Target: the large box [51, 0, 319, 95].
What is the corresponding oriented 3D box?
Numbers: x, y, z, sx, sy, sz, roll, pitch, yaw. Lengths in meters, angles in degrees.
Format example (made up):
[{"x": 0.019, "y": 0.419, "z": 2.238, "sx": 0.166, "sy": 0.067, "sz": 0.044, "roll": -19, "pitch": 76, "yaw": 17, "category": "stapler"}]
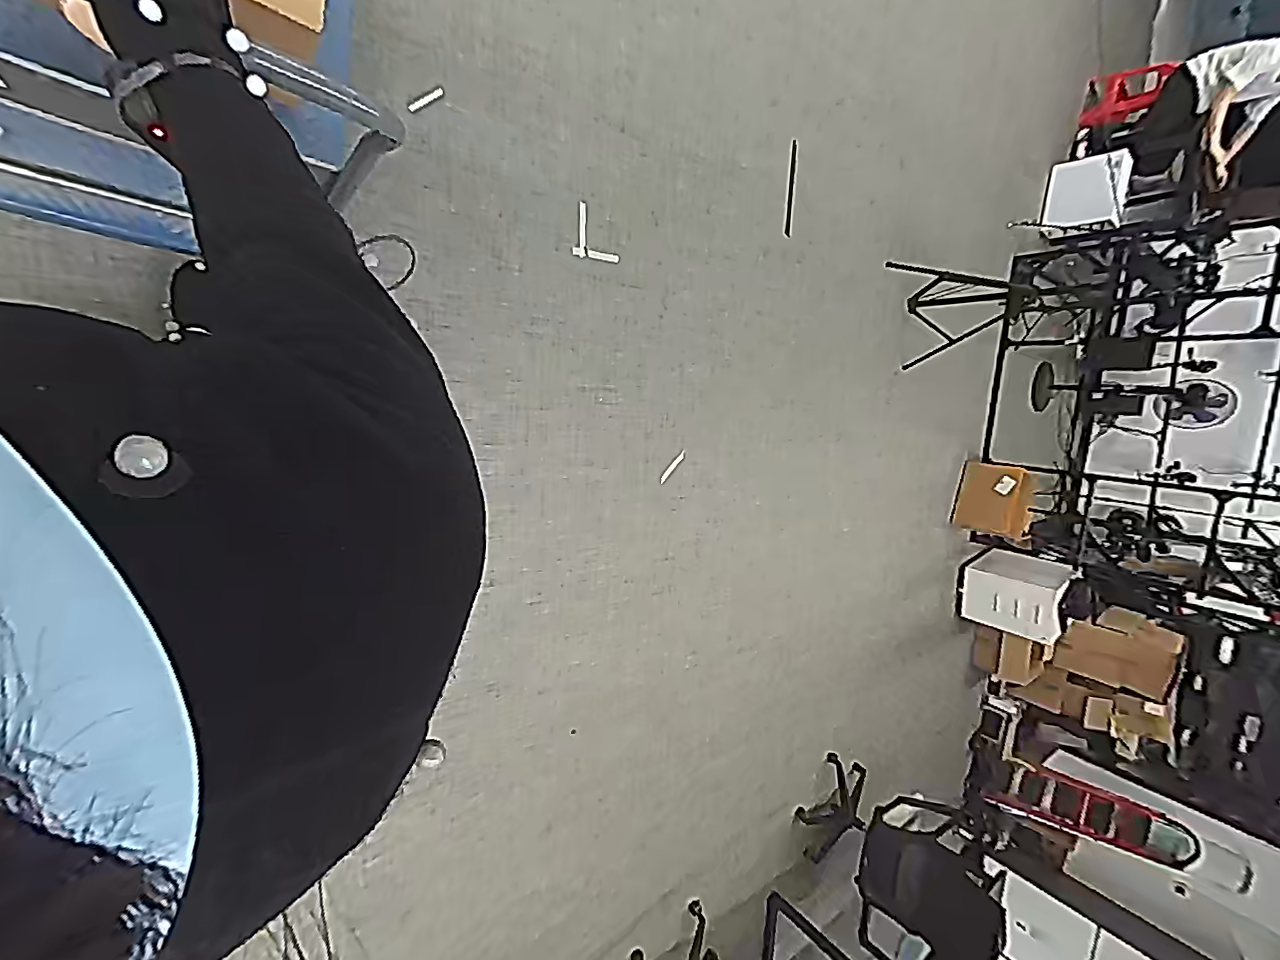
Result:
[{"x": -0.718, "y": -0.873, "z": 0.799, "sx": 0.408, "sy": 0.320, "sz": 0.320, "roll": 4, "pitch": 96, "yaw": -39, "category": "large box"}]
